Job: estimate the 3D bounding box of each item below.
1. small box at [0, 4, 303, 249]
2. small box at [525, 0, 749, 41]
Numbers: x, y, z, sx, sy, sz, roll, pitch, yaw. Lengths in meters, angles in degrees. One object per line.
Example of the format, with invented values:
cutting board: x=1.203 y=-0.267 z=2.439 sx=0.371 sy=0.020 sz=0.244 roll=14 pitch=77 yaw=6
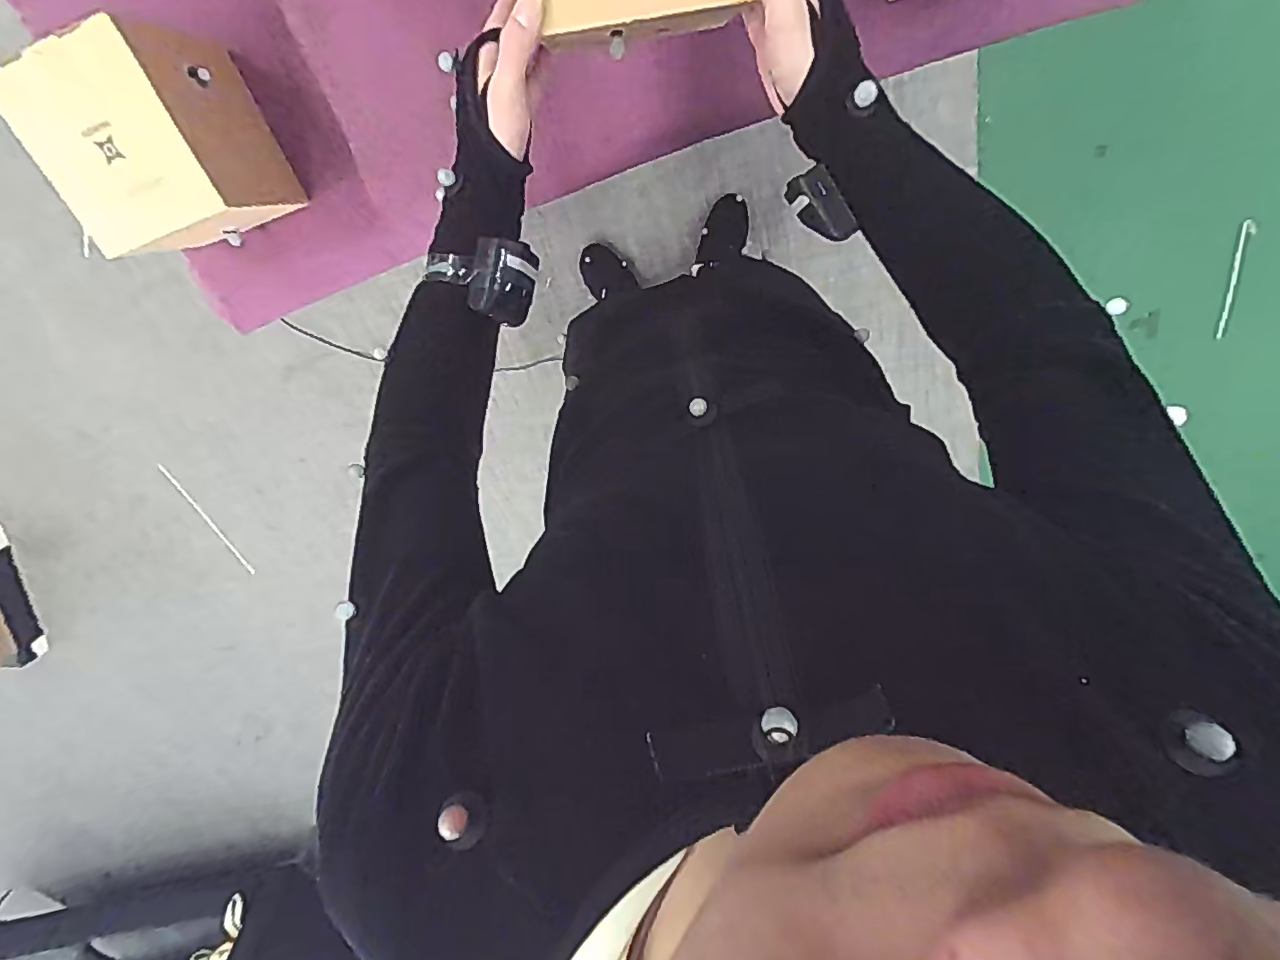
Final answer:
small box: x=-0.542 y=-0.385 z=0.618 sx=0.168 sy=0.176 sz=0.179 roll=-15 pitch=118 yaw=9
small box: x=-0.008 y=-0.436 z=0.386 sx=0.168 sy=0.176 sz=0.179 roll=-8 pitch=125 yaw=3
